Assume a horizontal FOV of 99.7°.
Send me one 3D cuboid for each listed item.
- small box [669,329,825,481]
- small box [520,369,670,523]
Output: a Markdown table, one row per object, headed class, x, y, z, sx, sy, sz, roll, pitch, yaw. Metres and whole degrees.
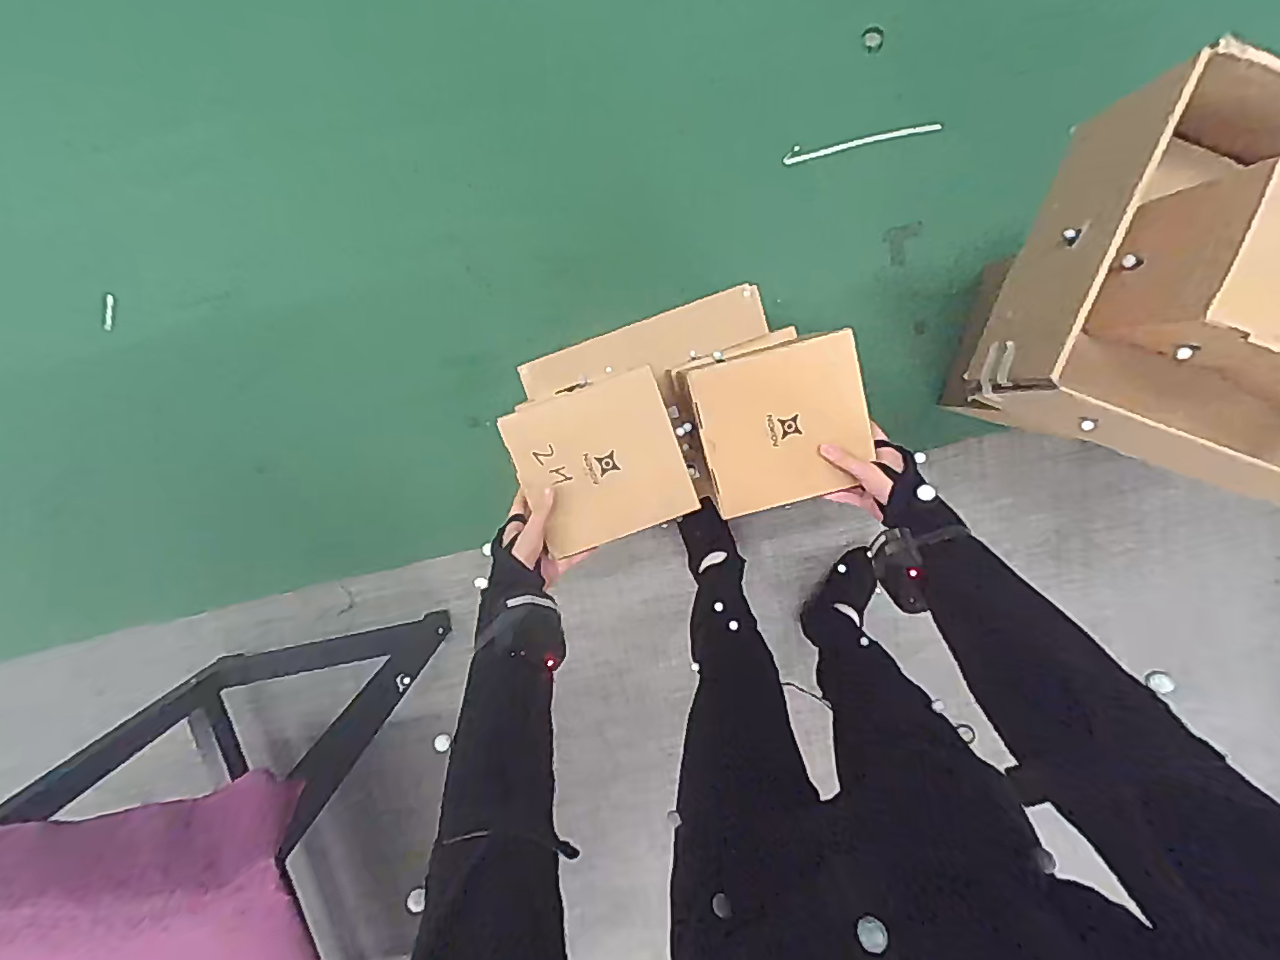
| class | x | y | z | sx | sy | sz | roll | pitch | yaw |
| --- | --- | --- | --- | --- | --- | --- | --- | --- | --- |
| small box | 0.148 | -0.112 | 0.808 | 0.179 | 0.176 | 0.168 | -19 | 100 | 4 |
| small box | -0.062 | -0.057 | 0.820 | 0.168 | 0.176 | 0.179 | -19 | 100 | 4 |
